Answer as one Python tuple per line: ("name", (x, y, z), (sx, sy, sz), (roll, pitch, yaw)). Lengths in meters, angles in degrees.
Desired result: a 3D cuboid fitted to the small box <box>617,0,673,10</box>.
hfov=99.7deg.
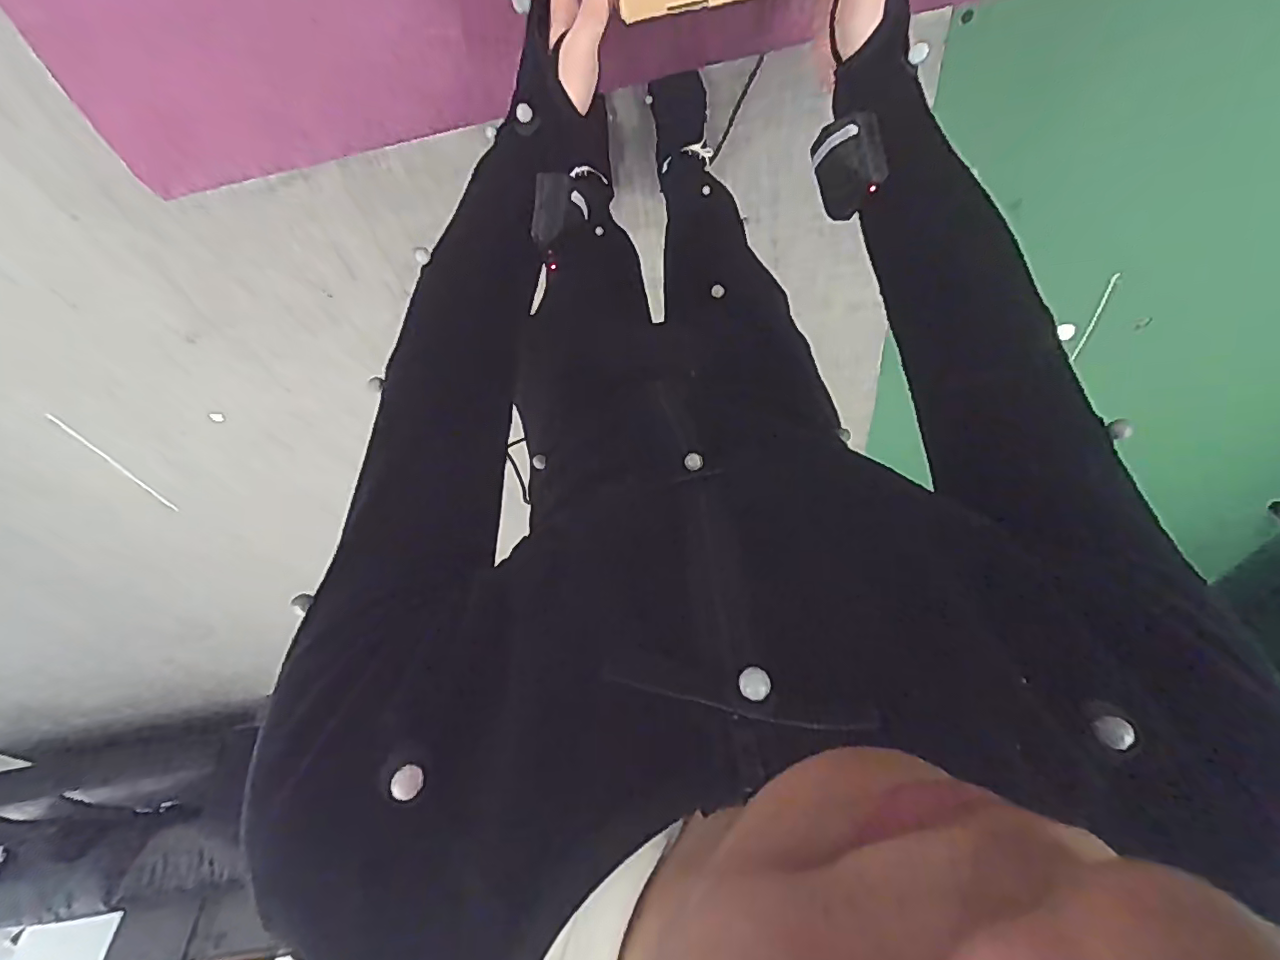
("small box", (0.042, -0.450, 0.359), (0.168, 0.176, 0.179), (-10, 137, 3))
